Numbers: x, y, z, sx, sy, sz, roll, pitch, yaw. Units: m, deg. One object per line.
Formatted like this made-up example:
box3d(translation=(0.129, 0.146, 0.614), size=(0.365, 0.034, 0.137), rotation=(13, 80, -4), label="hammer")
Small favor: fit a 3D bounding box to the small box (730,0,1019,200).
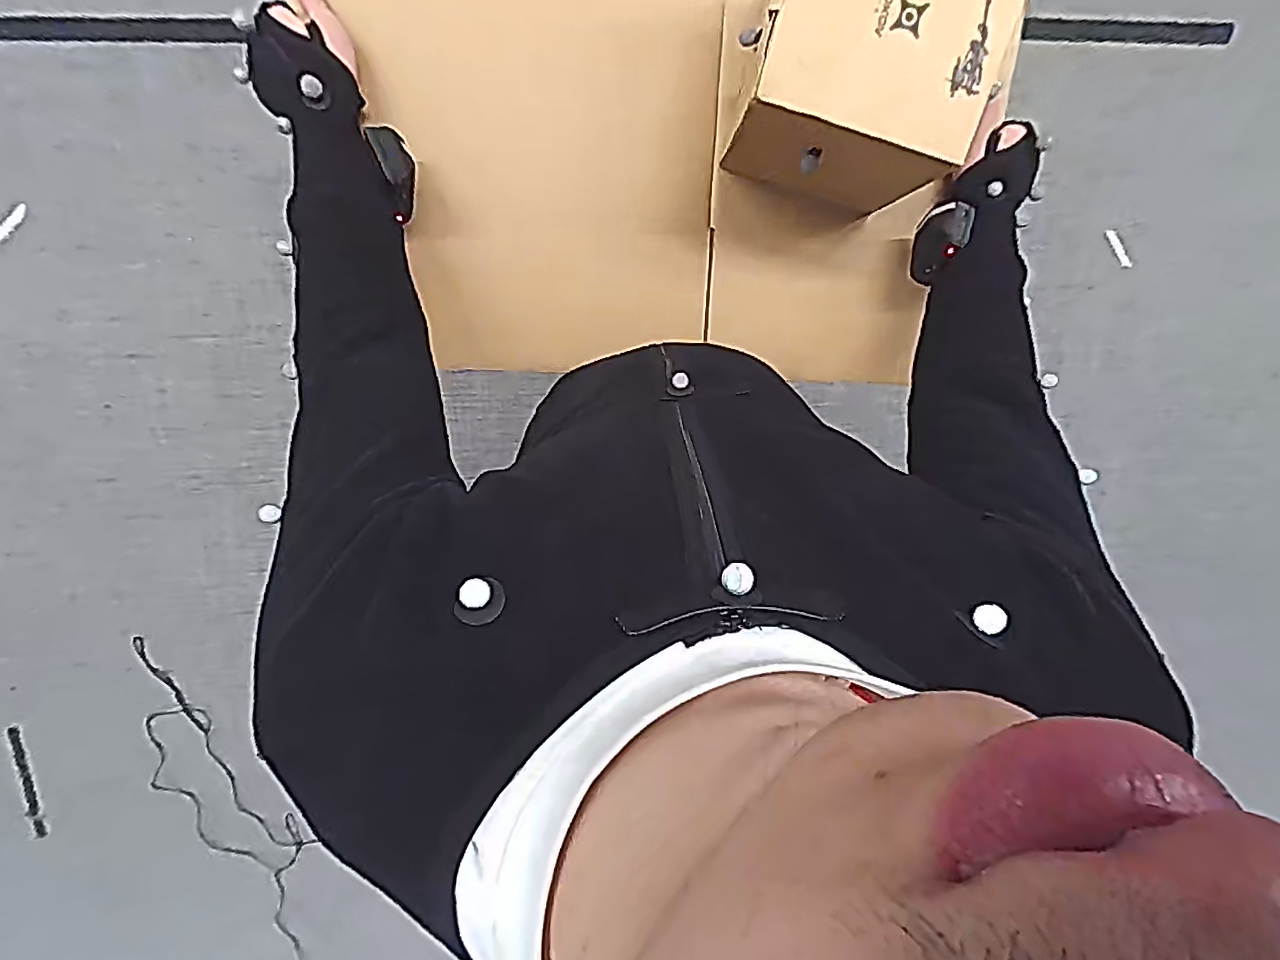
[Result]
box3d(translation=(0.191, -0.372, 0.479), size=(0.179, 0.176, 0.168), rotation=(15, 104, -4), label="small box")
